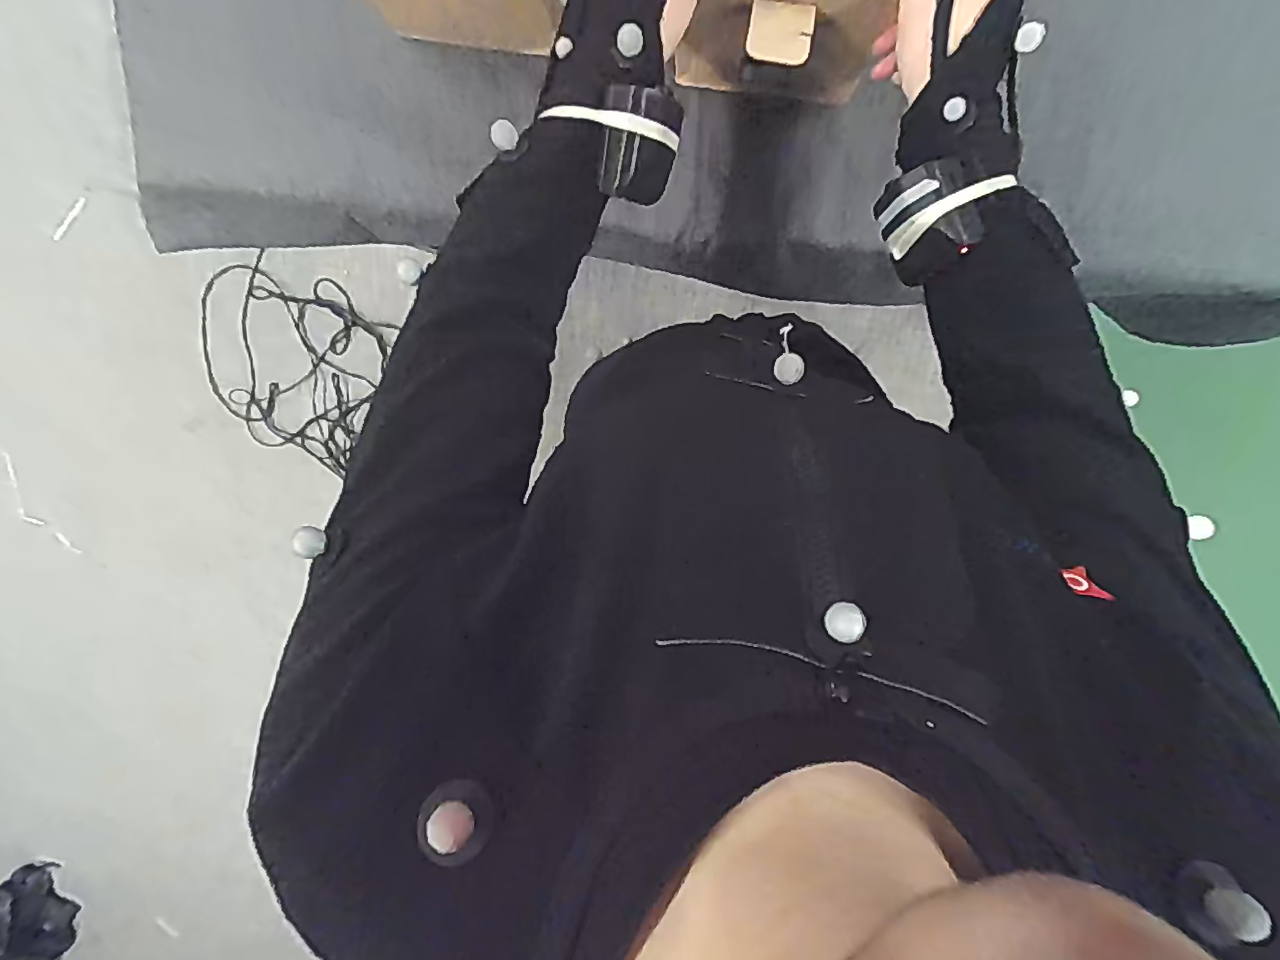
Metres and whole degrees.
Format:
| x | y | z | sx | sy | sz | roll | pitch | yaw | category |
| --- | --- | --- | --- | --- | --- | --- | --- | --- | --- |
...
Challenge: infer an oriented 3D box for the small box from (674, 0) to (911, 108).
| x | y | z | sx | sy | sz | roll | pitch | yaw | category |
| --- | --- | --- | --- | --- | --- | --- | --- | --- | --- |
| 0.118 | -0.431 | 0.421 | 0.168 | 0.176 | 0.179 | 9 | 105 | 2 | small box |

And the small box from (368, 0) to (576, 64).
| x | y | z | sx | sy | sz | roll | pitch | yaw | category |
| --- | --- | --- | --- | --- | --- | --- | --- | --- | --- |
| -0.148 | -0.472 | 0.432 | 0.179 | 0.176 | 0.168 | 10 | 106 | 2 | small box |
